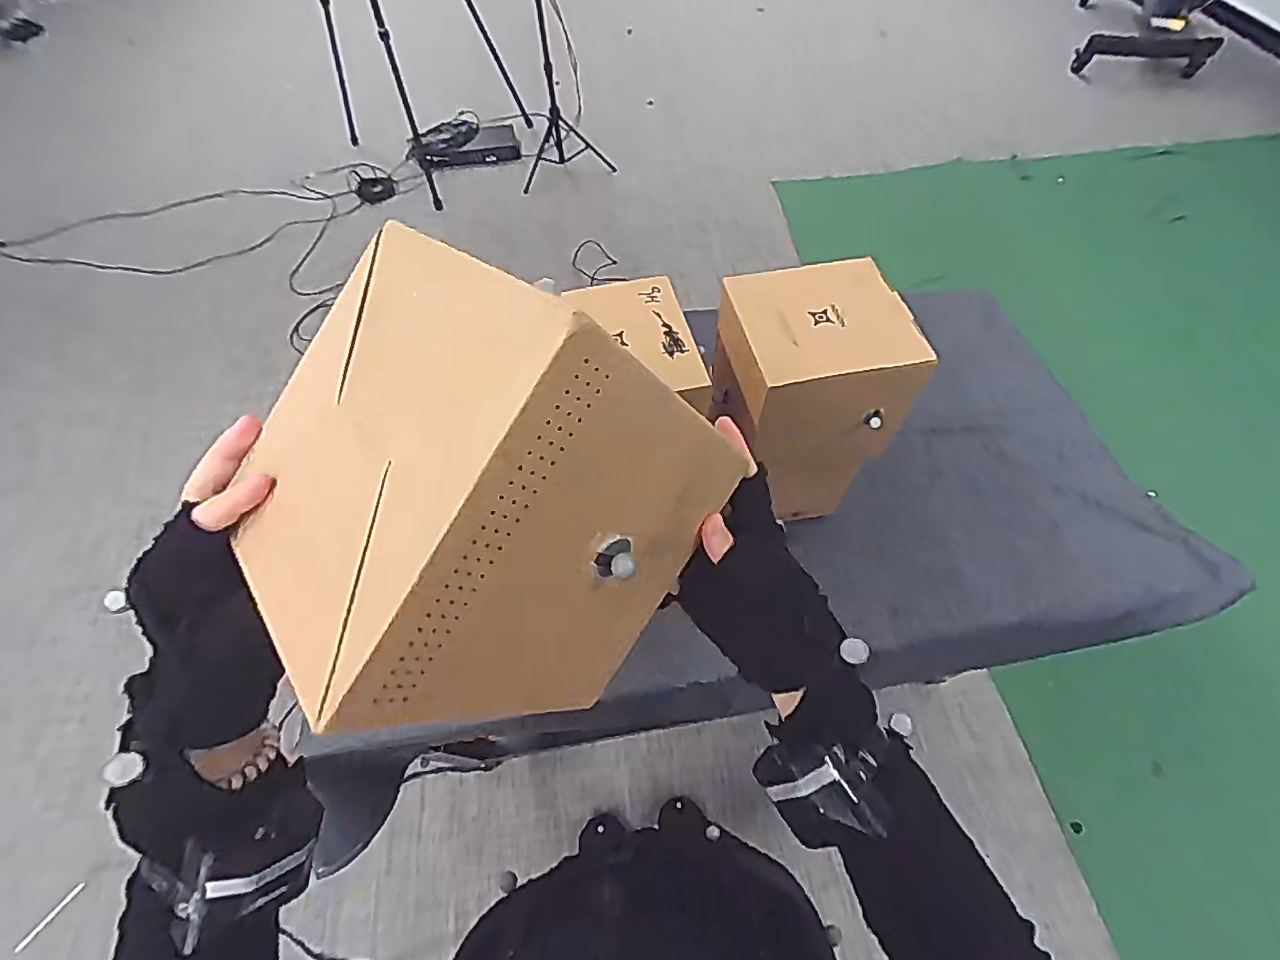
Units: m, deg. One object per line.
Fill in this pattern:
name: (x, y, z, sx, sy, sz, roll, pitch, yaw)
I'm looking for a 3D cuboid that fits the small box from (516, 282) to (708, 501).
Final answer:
small box: (-0.030, -0.094, 0.626, 0.179, 0.176, 0.168, -13, 60, -5)
